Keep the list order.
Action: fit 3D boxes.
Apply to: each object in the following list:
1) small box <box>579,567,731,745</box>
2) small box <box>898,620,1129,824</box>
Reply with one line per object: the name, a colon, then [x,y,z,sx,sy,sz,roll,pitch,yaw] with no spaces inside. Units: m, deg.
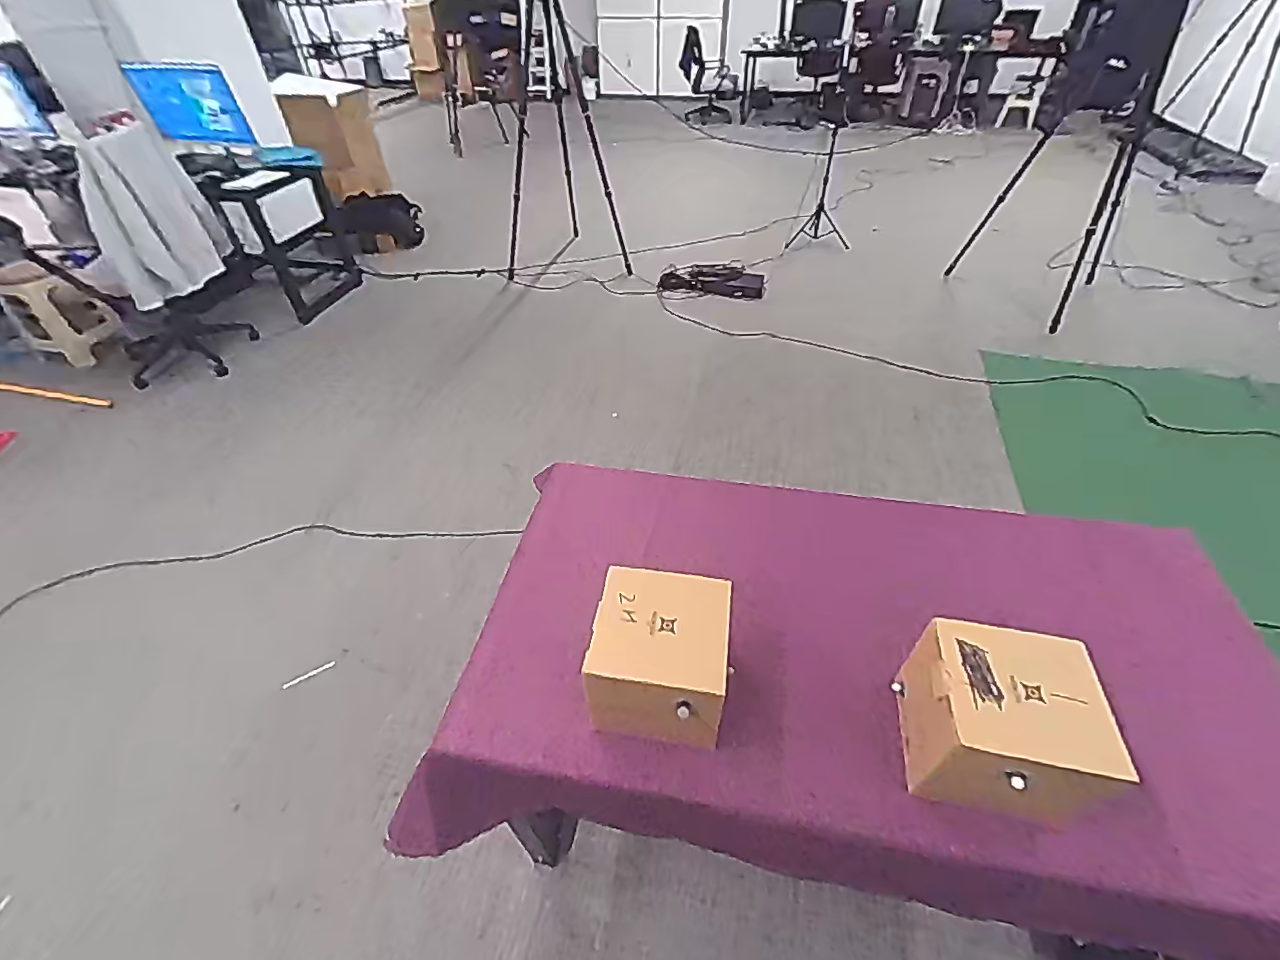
small box: [0.026,0.248,0.754,0.179,0.176,0.168,7,43,8]
small box: [0.440,0.305,0.680,0.179,0.176,0.168,9,45,10]
